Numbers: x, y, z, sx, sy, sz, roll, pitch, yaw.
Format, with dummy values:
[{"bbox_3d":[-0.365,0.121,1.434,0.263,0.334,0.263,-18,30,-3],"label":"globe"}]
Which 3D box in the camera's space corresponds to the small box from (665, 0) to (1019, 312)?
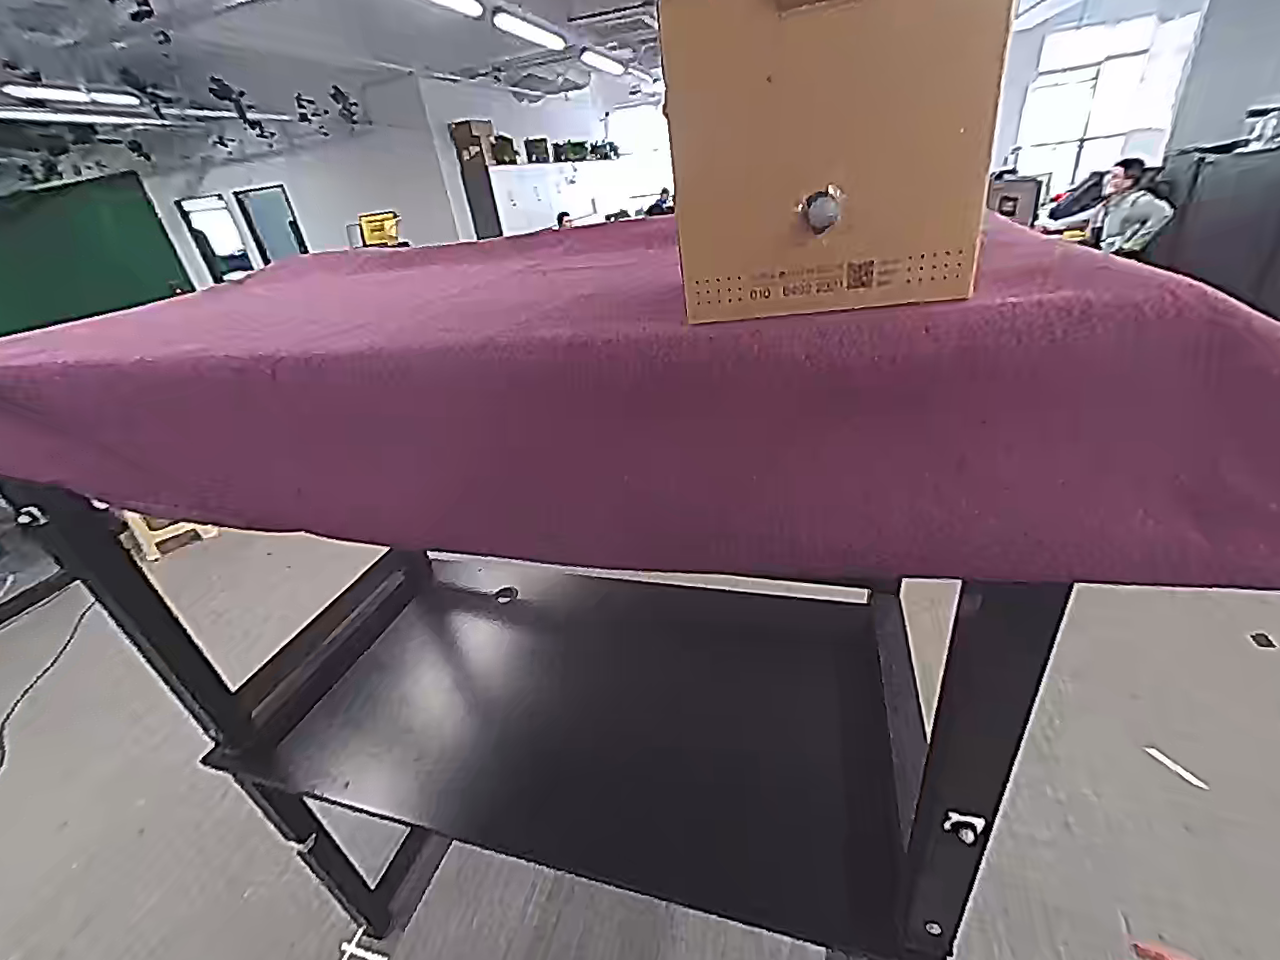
[{"bbox_3d":[0.115,-0.216,0.359,0.168,0.176,0.179,-2,29,13],"label":"small box"}]
